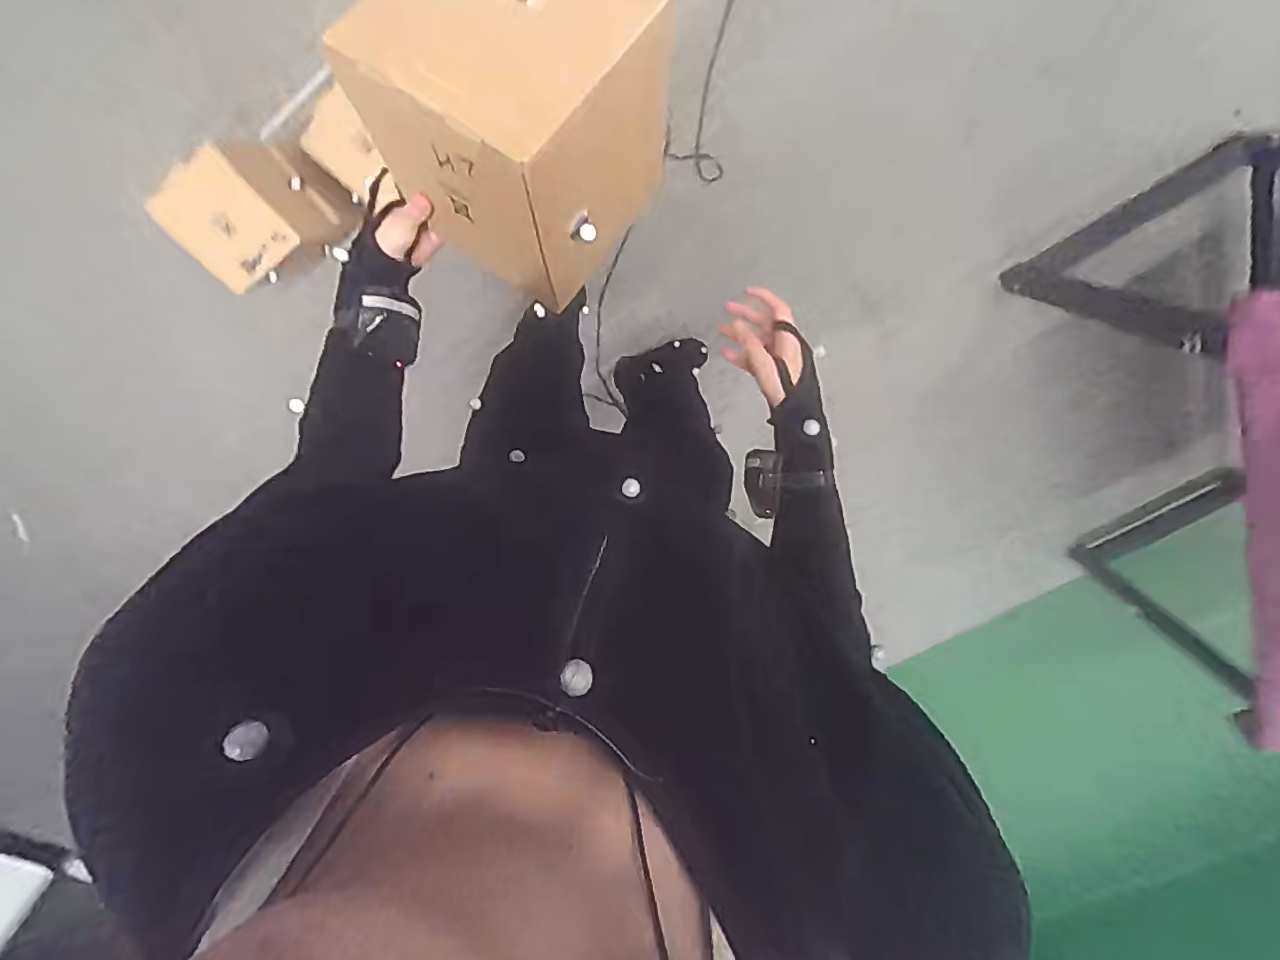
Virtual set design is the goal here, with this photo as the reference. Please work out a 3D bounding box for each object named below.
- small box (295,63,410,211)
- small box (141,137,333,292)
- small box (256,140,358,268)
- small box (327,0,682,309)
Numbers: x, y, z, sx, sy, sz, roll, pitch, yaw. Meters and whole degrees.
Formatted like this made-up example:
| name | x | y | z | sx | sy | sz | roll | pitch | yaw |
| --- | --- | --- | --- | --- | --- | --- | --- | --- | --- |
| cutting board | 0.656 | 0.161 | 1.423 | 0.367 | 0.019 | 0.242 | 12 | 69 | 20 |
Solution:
| name | x | y | z | sx | sy | sz | roll | pitch | yaw |
| --- | --- | --- | --- | --- | --- | --- | --- | --- | --- |
| small box | -0.513 | -0.657 | 1.051 | 0.168 | 0.176 | 0.179 | -41 | 117 | 19 |
| small box | -0.694 | -0.466 | 0.954 | 0.168 | 0.176 | 0.179 | -32 | 118 | 13 |
| small box | -0.705 | -0.554 | 1.092 | 0.179 | 0.176 | 0.168 | -33 | 119 | 14 |
| small box | -0.083 | -0.278 | 0.420 | 0.168 | 0.179 | 0.176 | 34 | 78 | 5 |
